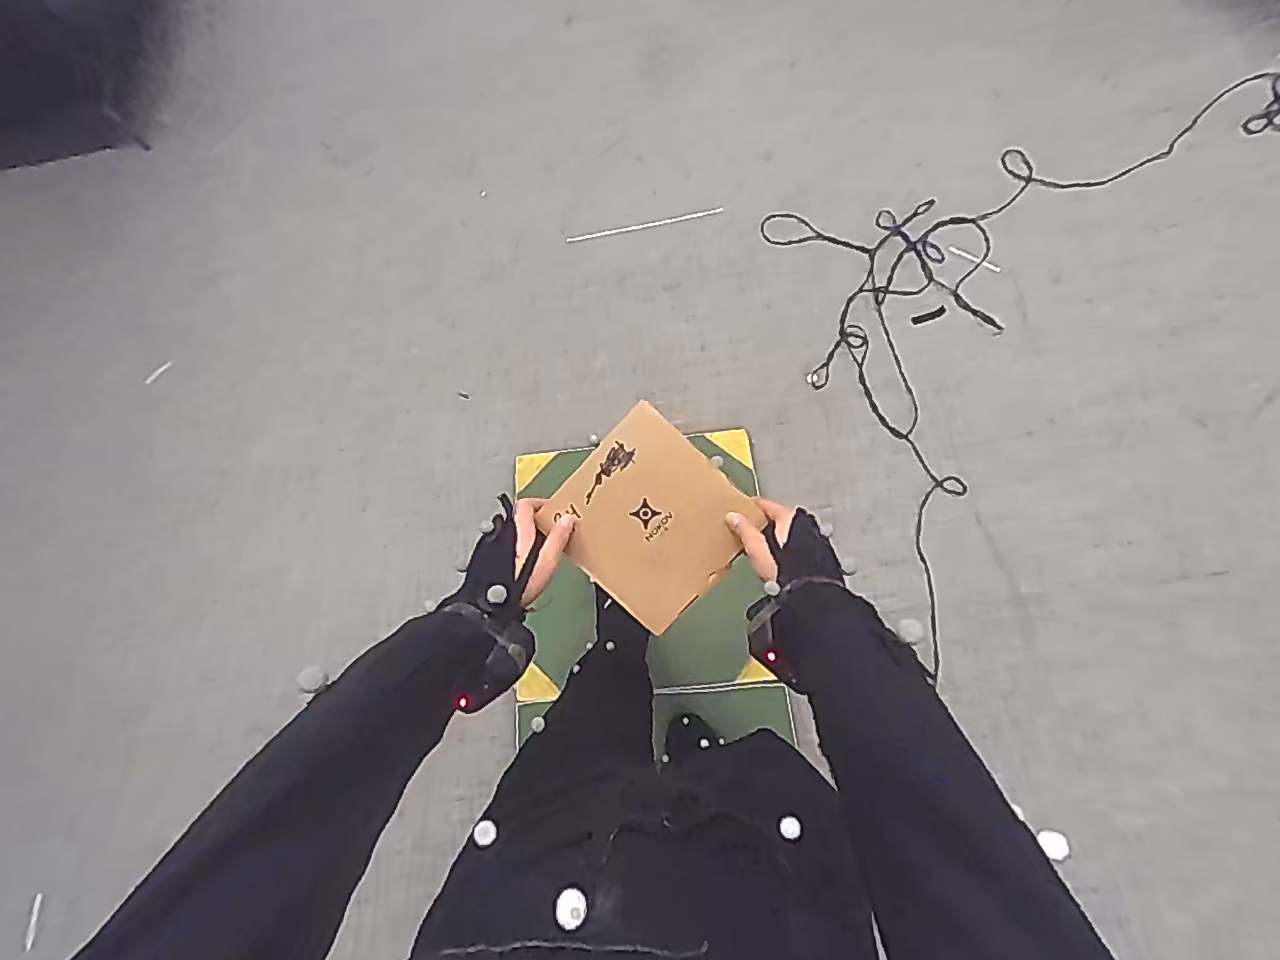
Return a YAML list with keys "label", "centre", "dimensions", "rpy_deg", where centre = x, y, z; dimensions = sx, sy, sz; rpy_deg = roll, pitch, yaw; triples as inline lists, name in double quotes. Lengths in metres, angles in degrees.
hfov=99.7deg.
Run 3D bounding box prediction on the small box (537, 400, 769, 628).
- label: "small box"
  centre: [0.015, 0.029, 0.616]
  dimensions: [0.179, 0.176, 0.168]
  rpy_deg: [43, 93, -2]
